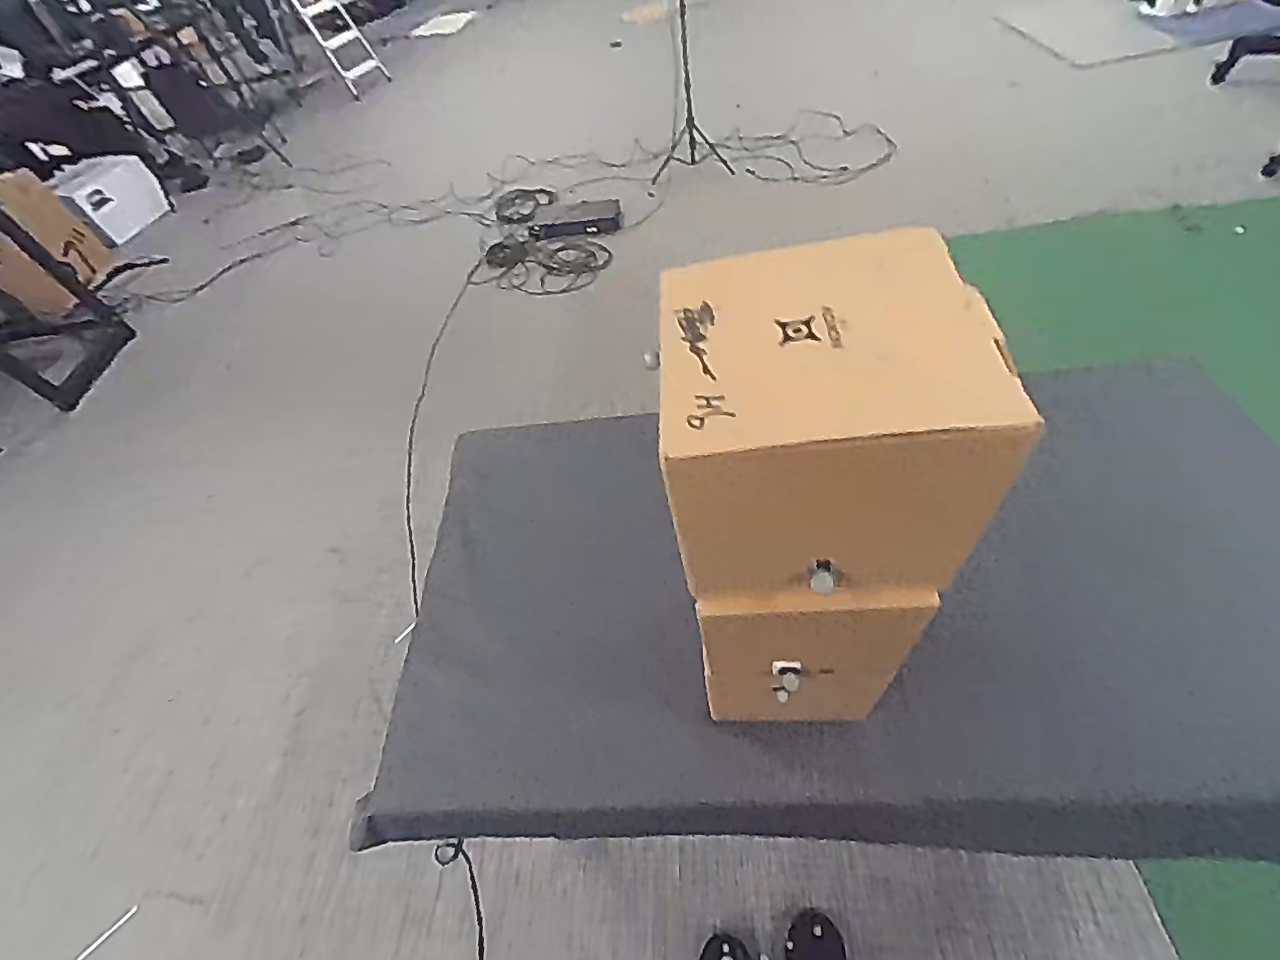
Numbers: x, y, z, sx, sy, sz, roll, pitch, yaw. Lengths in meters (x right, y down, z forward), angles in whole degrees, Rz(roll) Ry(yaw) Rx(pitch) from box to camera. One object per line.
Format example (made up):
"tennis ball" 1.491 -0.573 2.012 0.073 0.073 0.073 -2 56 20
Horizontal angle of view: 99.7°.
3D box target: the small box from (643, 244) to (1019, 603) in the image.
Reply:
"small box" 0.103 -0.027 0.365 0.179 0.176 0.168 -5 52 10

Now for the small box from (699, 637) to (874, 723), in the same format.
"small box" 0.161 0.171 0.617 0.179 0.176 0.168 -4 53 9

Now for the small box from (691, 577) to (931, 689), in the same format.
"small box" 0.134 0.075 0.490 0.168 0.176 0.179 -6 53 10
